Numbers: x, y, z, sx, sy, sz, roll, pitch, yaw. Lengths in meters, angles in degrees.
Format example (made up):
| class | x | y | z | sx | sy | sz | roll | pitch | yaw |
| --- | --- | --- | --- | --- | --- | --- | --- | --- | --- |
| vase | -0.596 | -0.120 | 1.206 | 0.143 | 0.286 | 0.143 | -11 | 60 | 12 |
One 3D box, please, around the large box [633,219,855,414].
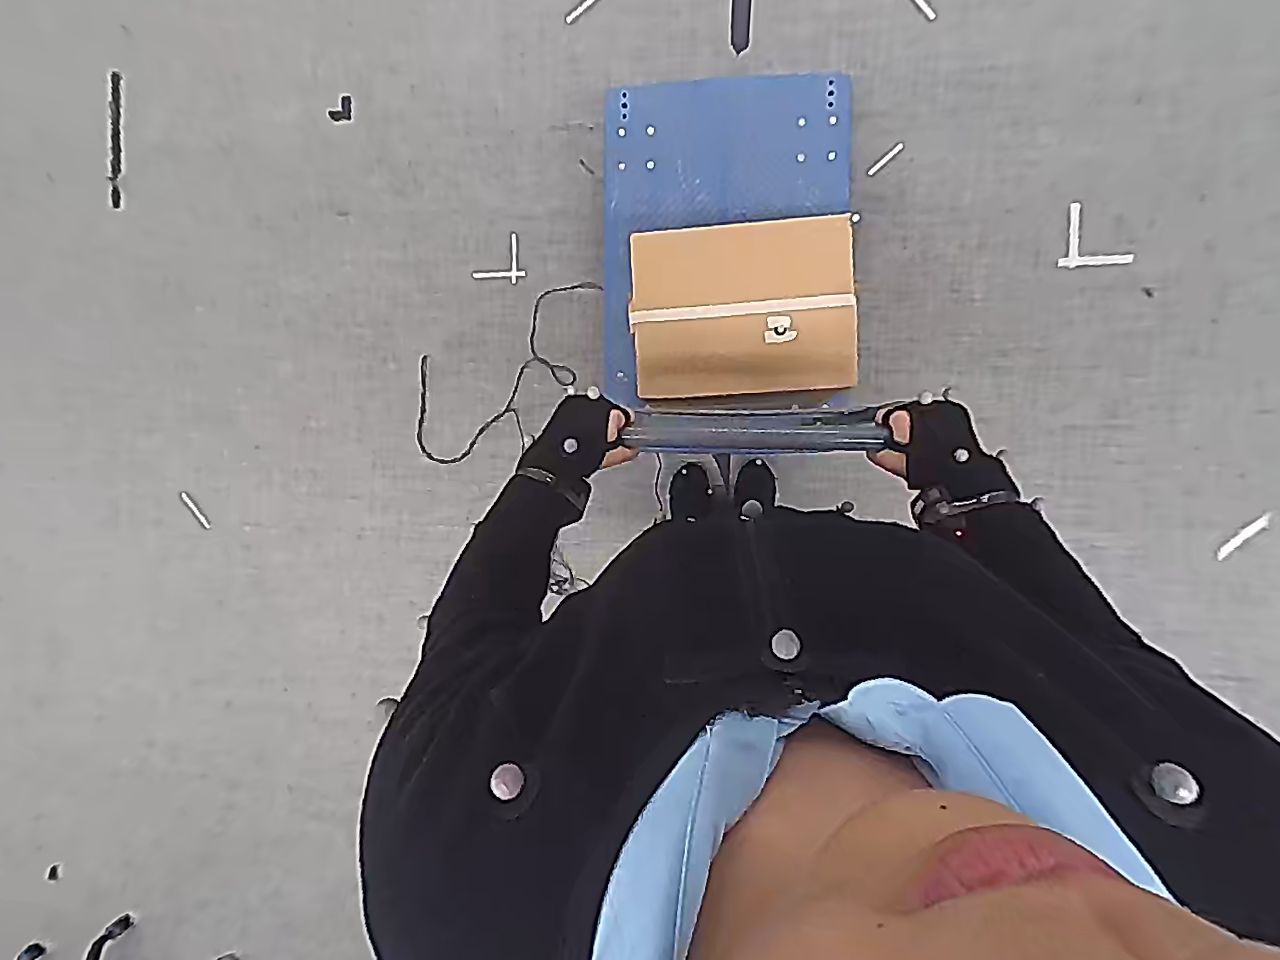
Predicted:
| class | x | y | z | sx | sy | sz | roll | pitch | yaw |
| --- | --- | --- | --- | --- | --- | --- | --- | --- | --- |
| large box | 0.205 | -0.321 | 1.161 | 0.408 | 0.320 | 0.320 | -3 | 93 | 5 |
